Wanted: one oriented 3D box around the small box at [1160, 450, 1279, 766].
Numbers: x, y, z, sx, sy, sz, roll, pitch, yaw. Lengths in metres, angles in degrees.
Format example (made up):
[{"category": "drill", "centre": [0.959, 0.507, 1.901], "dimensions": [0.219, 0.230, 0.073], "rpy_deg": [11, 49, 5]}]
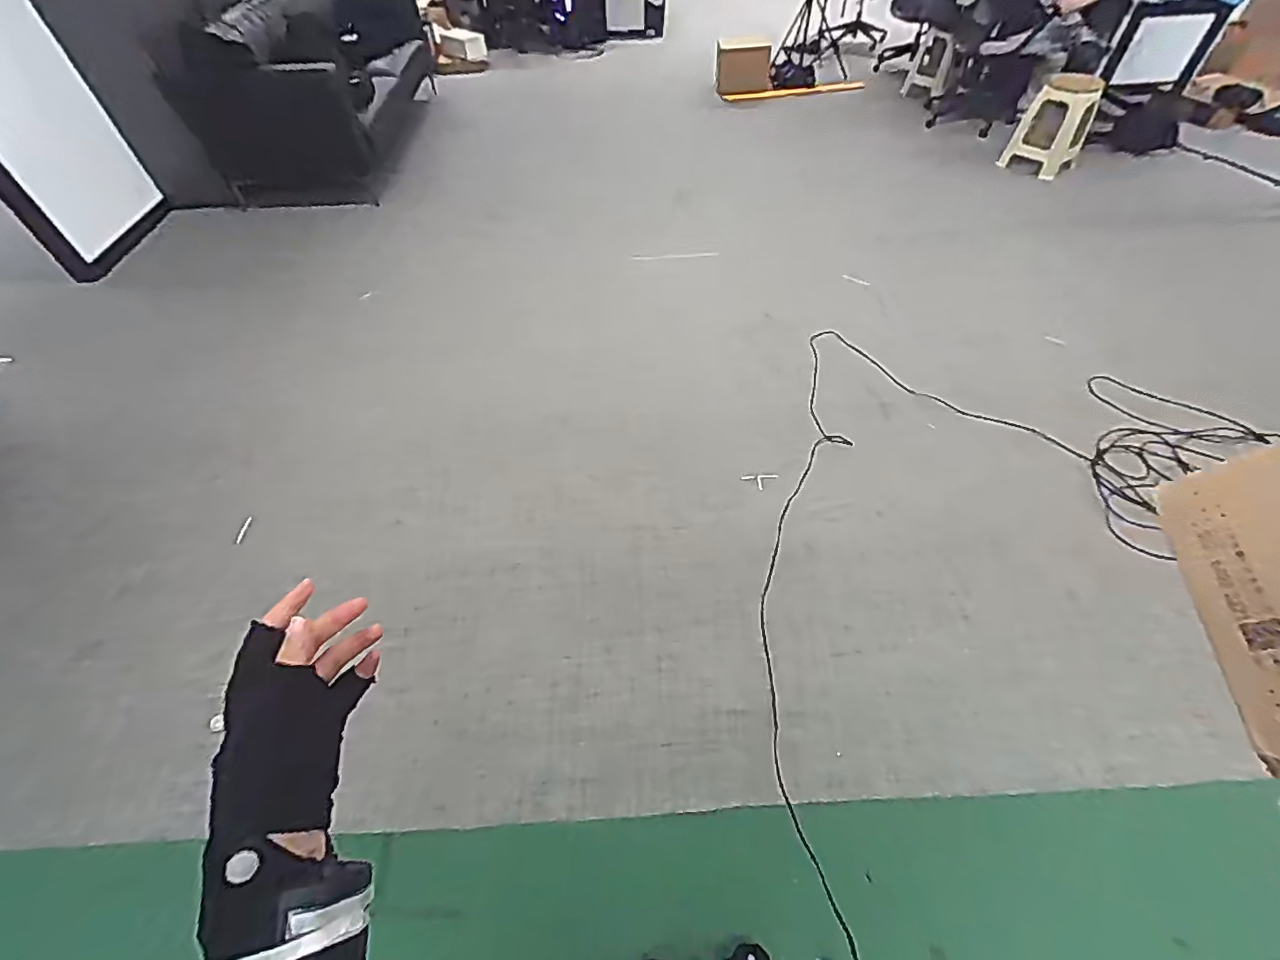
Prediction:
[{"category": "small box", "centre": [0.406, 0.070, 0.251], "dimensions": [0.179, 0.176, 0.168], "rpy_deg": [30, 51, -17]}]
